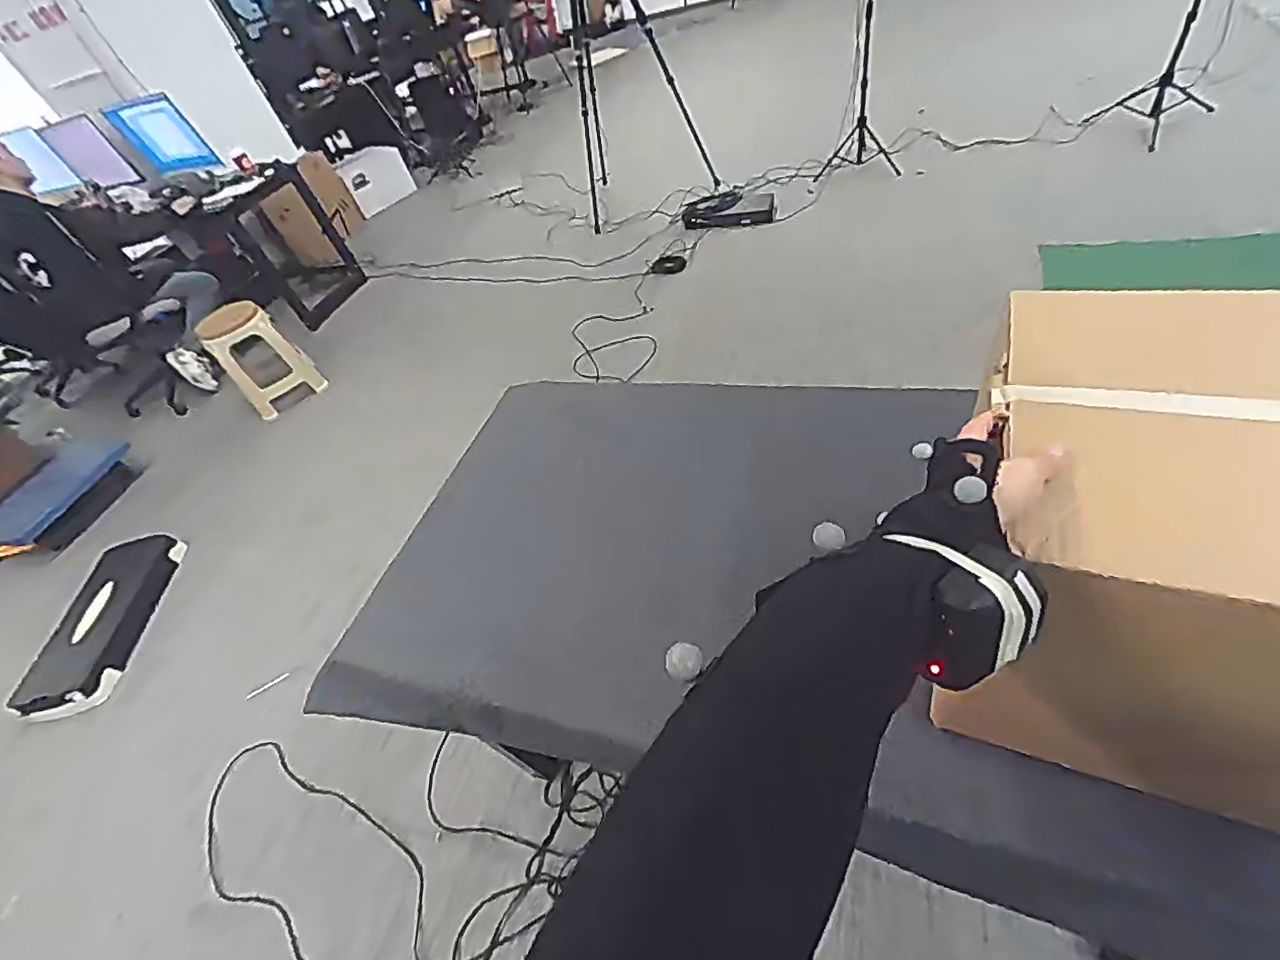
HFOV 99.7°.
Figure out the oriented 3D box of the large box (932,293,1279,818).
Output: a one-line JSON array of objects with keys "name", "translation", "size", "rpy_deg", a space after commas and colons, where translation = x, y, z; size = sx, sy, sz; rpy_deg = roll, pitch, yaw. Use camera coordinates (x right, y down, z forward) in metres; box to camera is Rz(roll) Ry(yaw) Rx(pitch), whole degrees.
[{"name": "large box", "translation": [0.499, 0.062, 0.451], "size": [0.408, 0.320, 0.320], "rpy_deg": [10, 53, 25]}]
